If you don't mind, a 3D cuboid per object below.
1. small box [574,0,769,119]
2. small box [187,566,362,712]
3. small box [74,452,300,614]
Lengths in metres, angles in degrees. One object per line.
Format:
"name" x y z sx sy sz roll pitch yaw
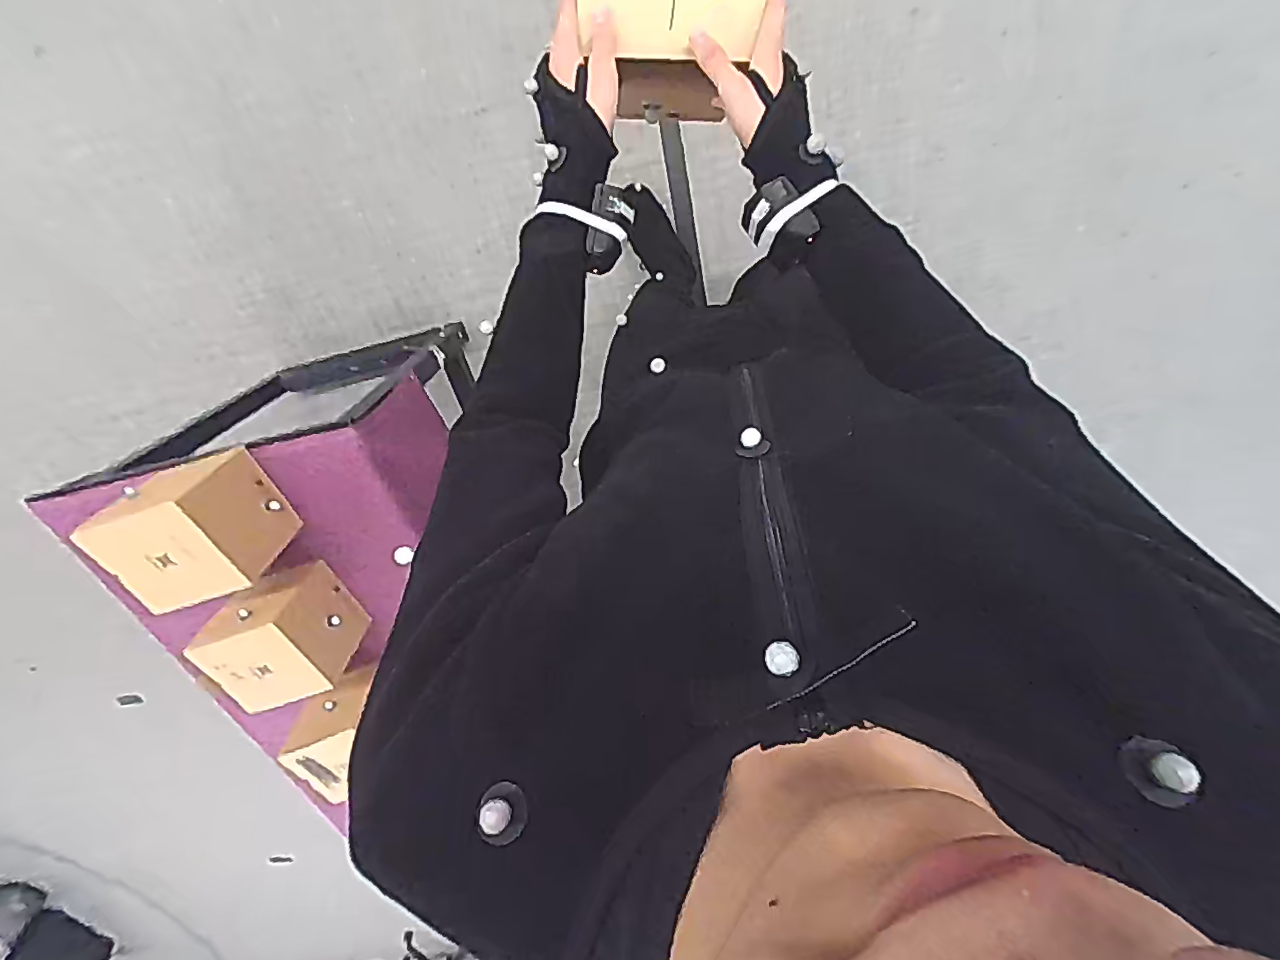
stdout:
"small box" 0.021 -0.472 0.511 0.168 0.176 0.179 -1 109 -5
"small box" -0.634 0.279 0.973 0.179 0.176 0.168 -18 119 8
"small box" -0.694 0.079 0.856 0.179 0.176 0.168 -16 121 8
